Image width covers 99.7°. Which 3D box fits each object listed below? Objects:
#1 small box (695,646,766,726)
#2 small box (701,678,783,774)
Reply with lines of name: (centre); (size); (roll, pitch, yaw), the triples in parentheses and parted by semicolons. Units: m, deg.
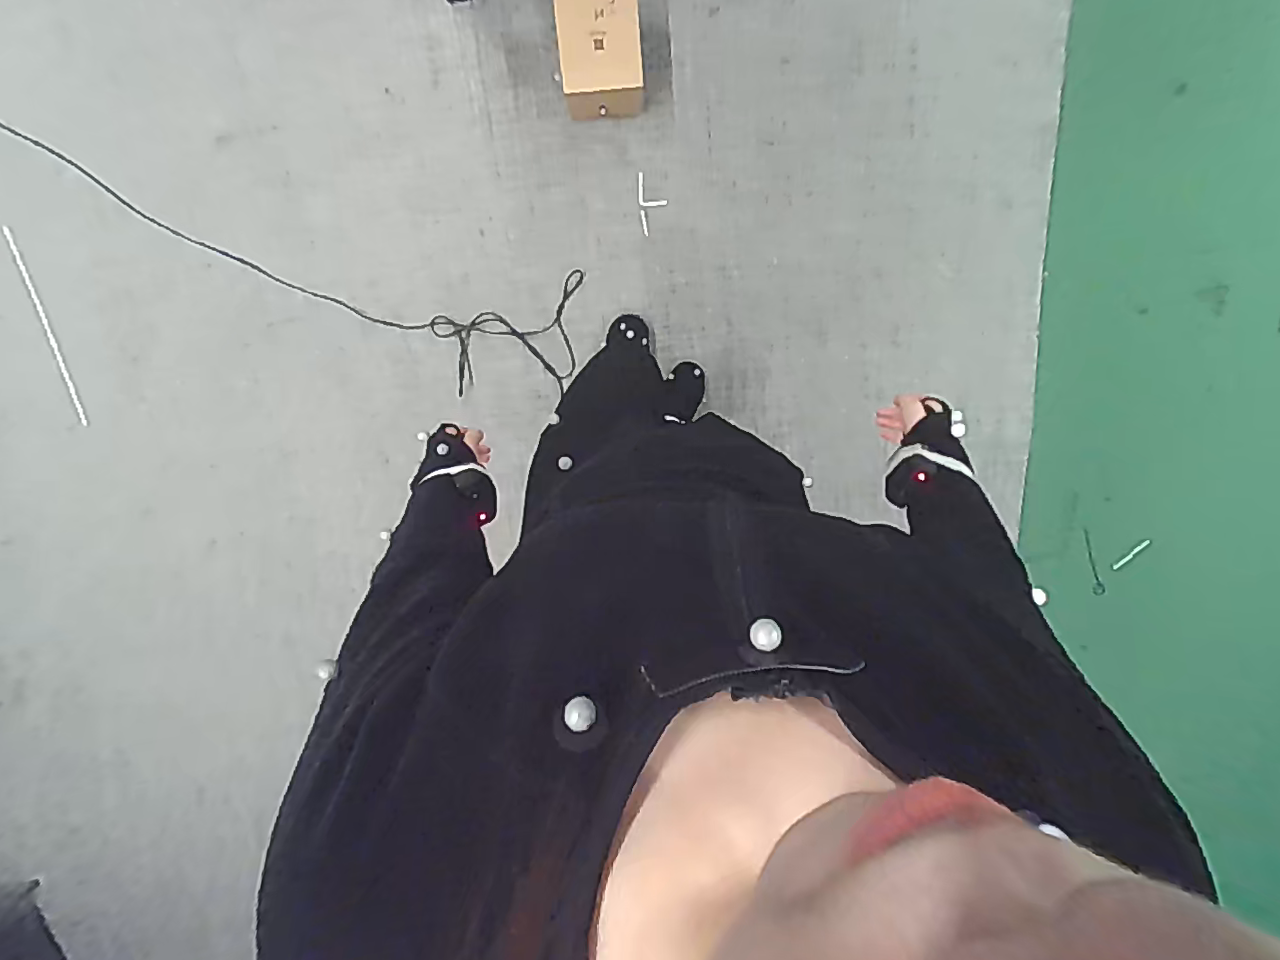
small box: (0.258, 0.604, 1.585); (0.179, 0.176, 0.168); (2, 106, -1)
small box: (0.260, 0.641, 1.424); (0.179, 0.176, 0.168); (2, 106, -2)
